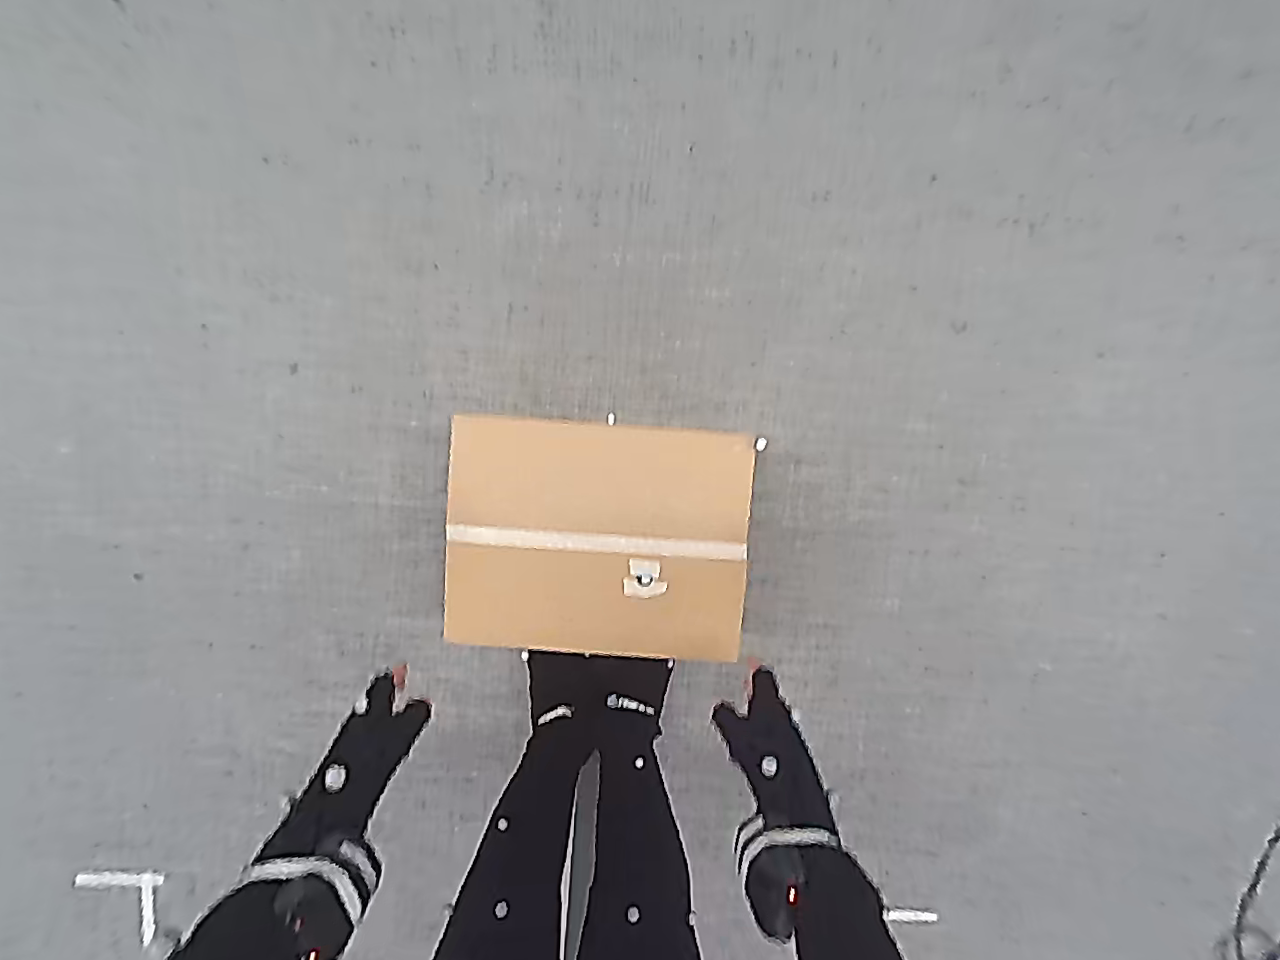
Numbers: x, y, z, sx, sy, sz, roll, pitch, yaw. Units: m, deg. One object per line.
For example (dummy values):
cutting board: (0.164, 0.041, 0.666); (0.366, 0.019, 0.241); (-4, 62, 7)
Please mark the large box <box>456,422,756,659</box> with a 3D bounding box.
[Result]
large box: (-0.053, 0.079, 0.885); (0.408, 0.320, 0.320); (4, 94, -1)
